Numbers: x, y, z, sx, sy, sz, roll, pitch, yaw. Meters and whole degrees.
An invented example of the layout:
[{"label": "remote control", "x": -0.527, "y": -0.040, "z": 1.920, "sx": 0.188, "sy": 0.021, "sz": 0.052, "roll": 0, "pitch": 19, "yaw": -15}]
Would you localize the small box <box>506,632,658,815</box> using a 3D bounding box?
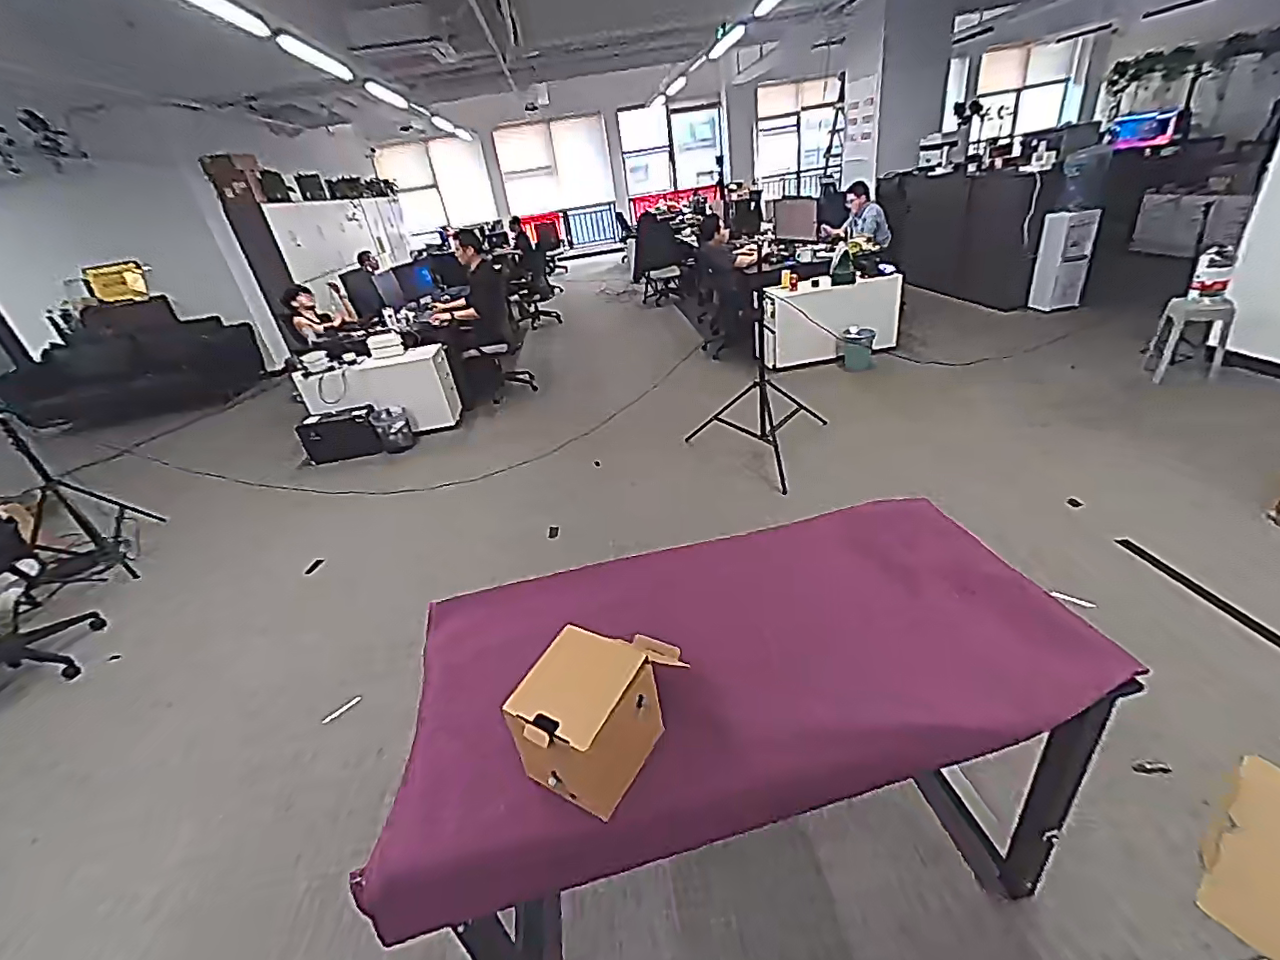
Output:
[{"label": "small box", "x": -0.083, "y": 0.386, "z": 0.874, "sx": 0.168, "sy": 0.176, "sz": 0.179, "roll": 9, "pitch": 34, "yaw": 33}]
